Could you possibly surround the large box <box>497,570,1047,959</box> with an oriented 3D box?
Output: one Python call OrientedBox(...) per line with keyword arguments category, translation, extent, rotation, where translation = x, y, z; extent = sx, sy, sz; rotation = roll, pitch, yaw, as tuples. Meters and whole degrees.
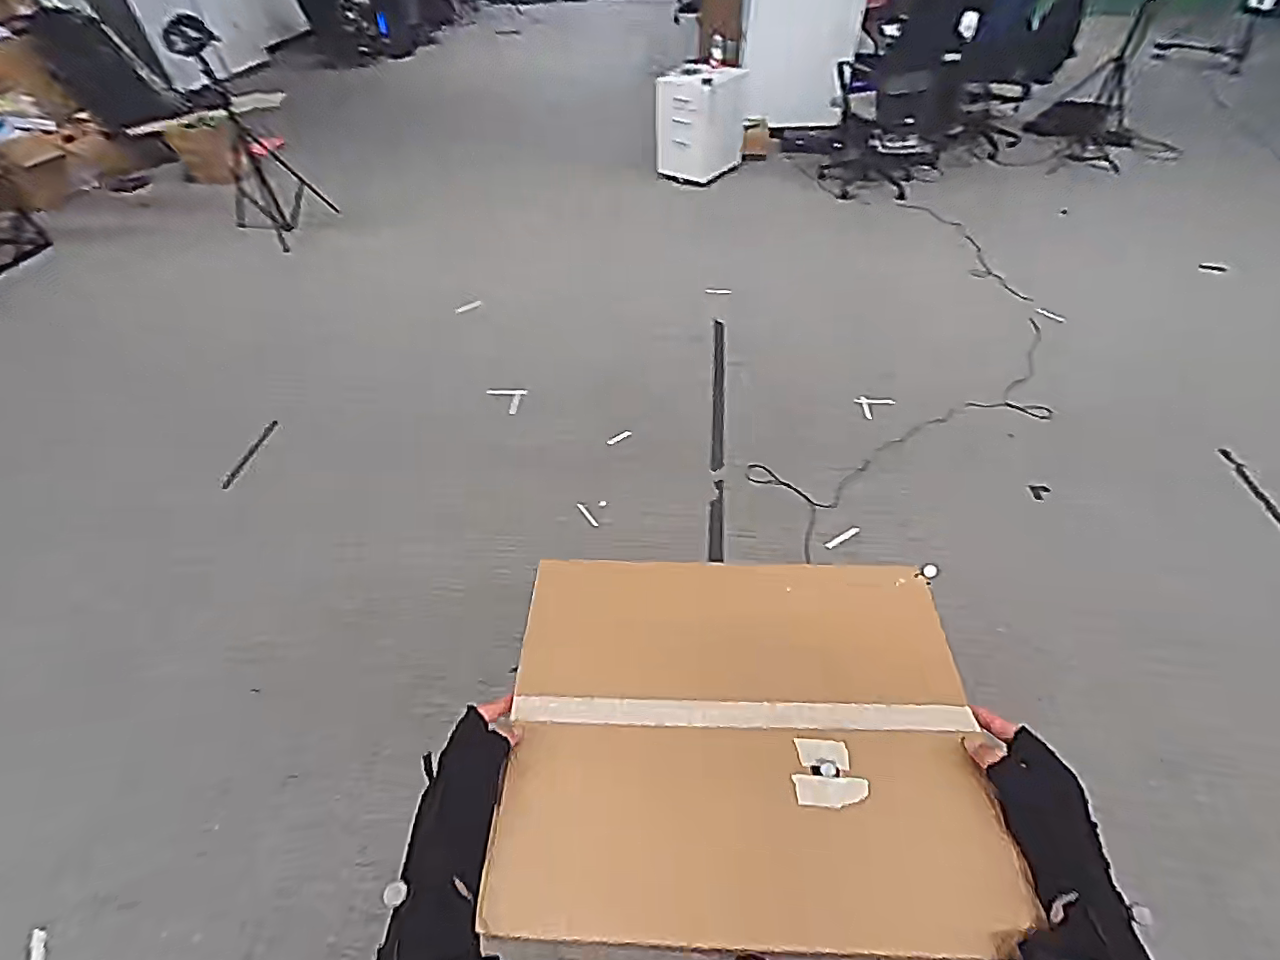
OrientedBox(category="large box", translation=(0.098, 0.313, 0.595), extent=(0.408, 0.320, 0.320), rotation=(1, 50, 3))
